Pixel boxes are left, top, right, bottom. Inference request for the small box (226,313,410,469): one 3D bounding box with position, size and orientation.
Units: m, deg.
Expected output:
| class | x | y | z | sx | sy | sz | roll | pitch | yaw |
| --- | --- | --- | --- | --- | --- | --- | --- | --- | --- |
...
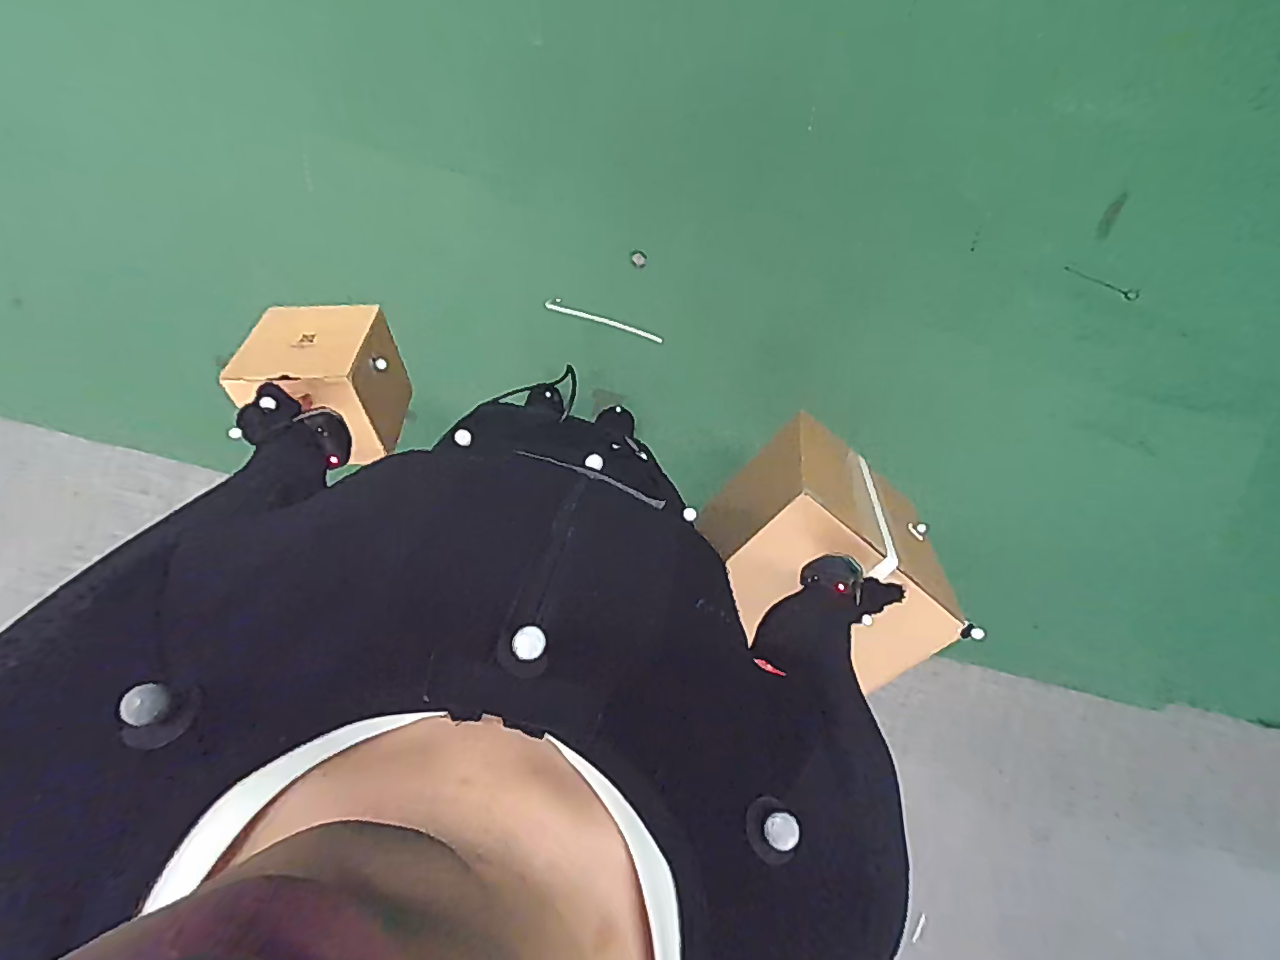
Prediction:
| class | x | y | z | sx | sy | sz | roll | pitch | yaw |
| --- | --- | --- | --- | --- | --- | --- | --- | --- | --- |
| small box | -0.471 | -0.136 | 0.830 | 0.168 | 0.179 | 0.176 | -2 | 139 | -2 |
